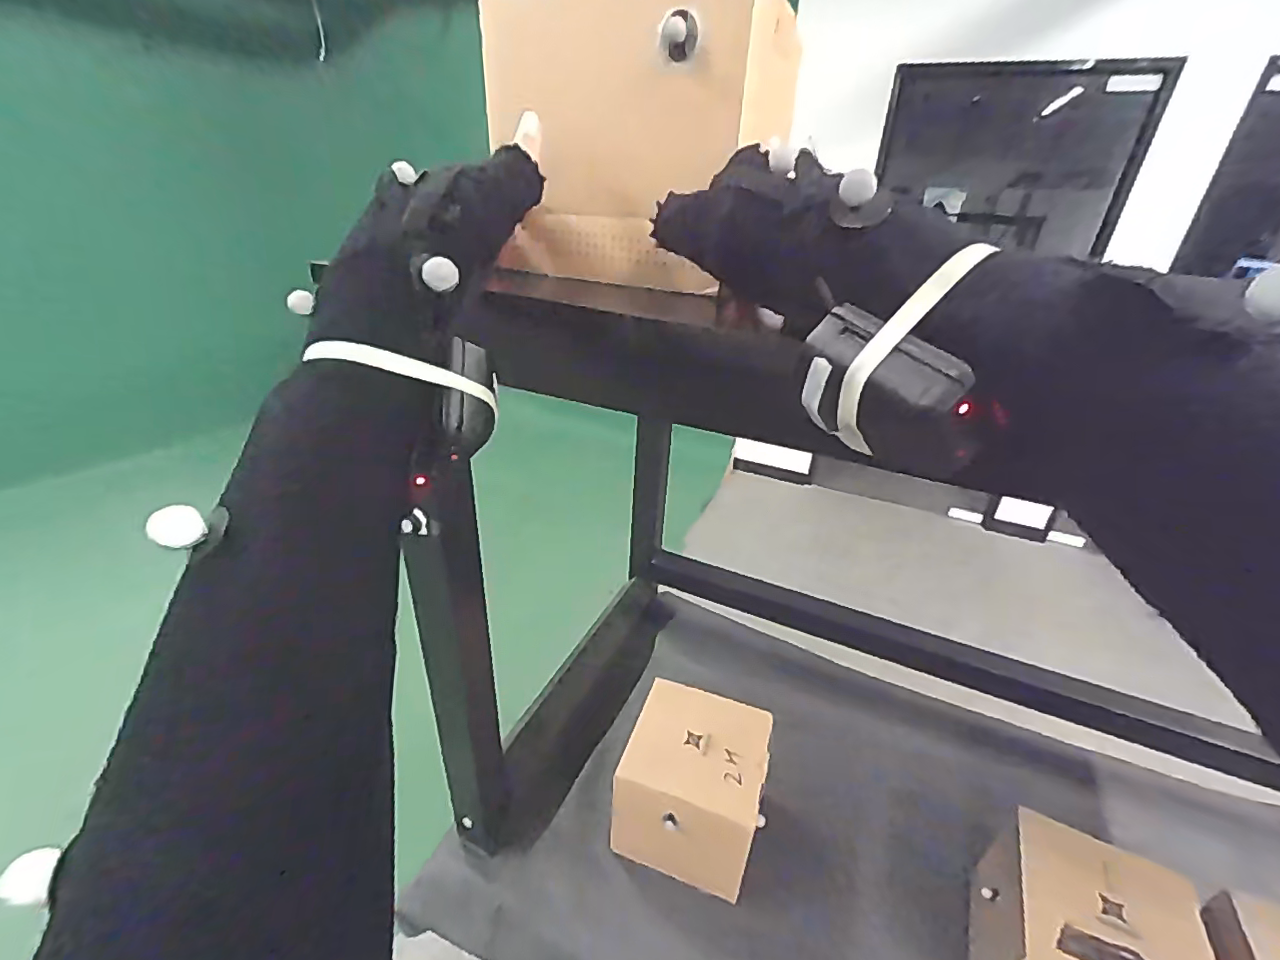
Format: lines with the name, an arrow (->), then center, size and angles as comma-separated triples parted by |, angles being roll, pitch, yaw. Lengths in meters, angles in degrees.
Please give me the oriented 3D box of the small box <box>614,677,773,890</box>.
small box -> 0.072, 0.413, 0.744 | 0.179, 0.176, 0.168 | 13, 30, 16
